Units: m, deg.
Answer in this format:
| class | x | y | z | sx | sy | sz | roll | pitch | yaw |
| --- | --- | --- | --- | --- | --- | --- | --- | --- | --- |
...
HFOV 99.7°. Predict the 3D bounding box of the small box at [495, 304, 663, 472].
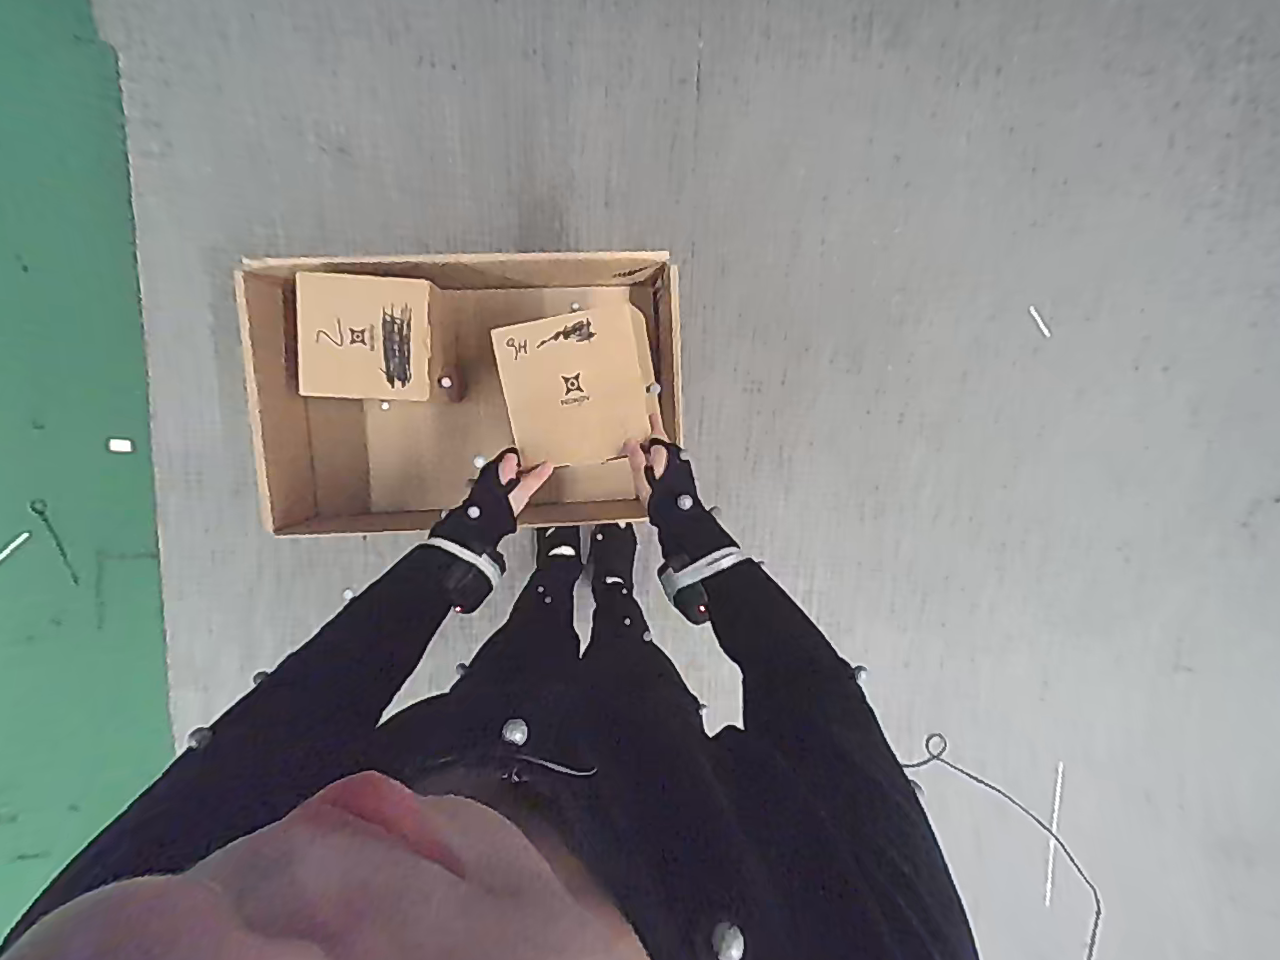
| class | x | y | z | sx | sy | sz | roll | pitch | yaw |
| --- | --- | --- | --- | --- | --- | --- | --- | --- | --- |
| small box | -0.065 | -0.122 | 0.701 | 0.168 | 0.176 | 0.179 | -8 | 103 | 7 |
